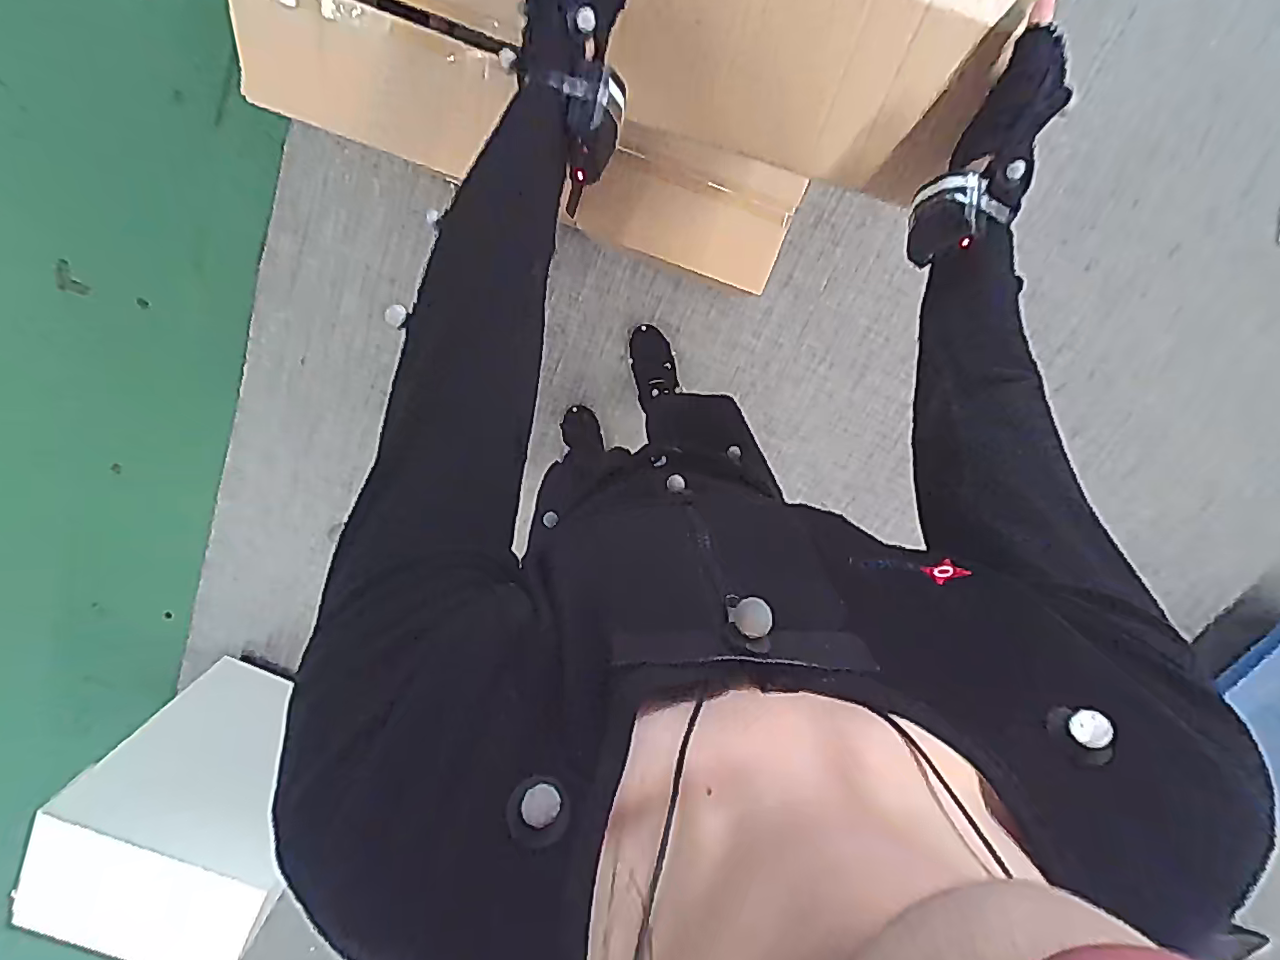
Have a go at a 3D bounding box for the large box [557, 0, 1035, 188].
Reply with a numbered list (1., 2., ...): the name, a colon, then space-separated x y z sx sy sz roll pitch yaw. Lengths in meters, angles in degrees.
1. large box: 0.162 -0.548 0.553 0.408 0.320 0.320 14 130 -3
